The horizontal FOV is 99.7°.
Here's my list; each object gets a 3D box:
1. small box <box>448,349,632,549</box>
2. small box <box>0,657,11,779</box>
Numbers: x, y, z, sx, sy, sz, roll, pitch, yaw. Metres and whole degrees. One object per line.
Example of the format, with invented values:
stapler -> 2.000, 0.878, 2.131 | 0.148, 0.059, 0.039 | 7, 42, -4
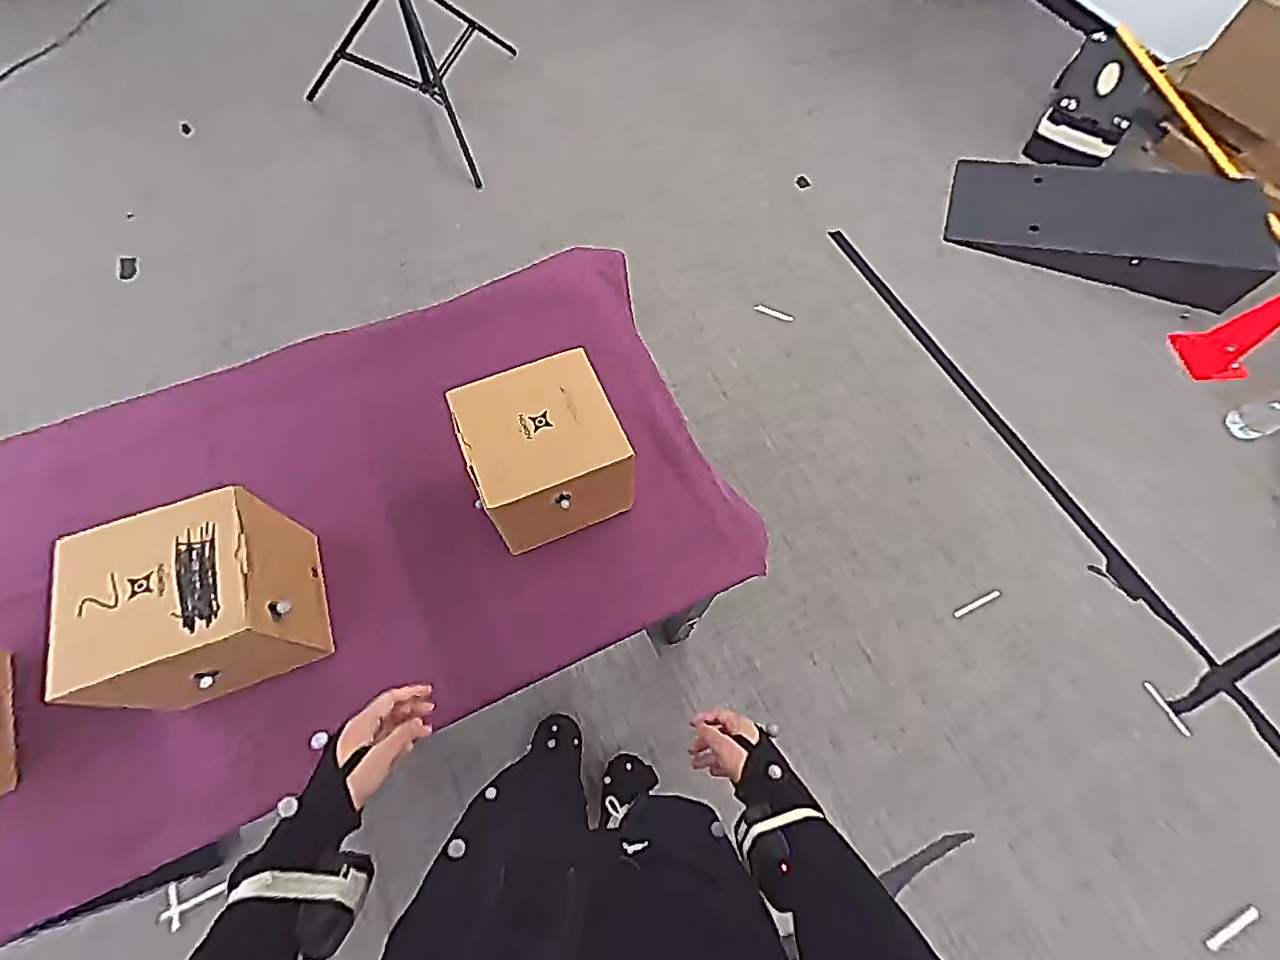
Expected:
small box -> -0.120, -0.031, 0.695 | 0.179, 0.176, 0.168 | -21, 68, -12
small box -> -0.788, 0.272, 0.528 | 0.179, 0.176, 0.168 | -25, 67, -13
